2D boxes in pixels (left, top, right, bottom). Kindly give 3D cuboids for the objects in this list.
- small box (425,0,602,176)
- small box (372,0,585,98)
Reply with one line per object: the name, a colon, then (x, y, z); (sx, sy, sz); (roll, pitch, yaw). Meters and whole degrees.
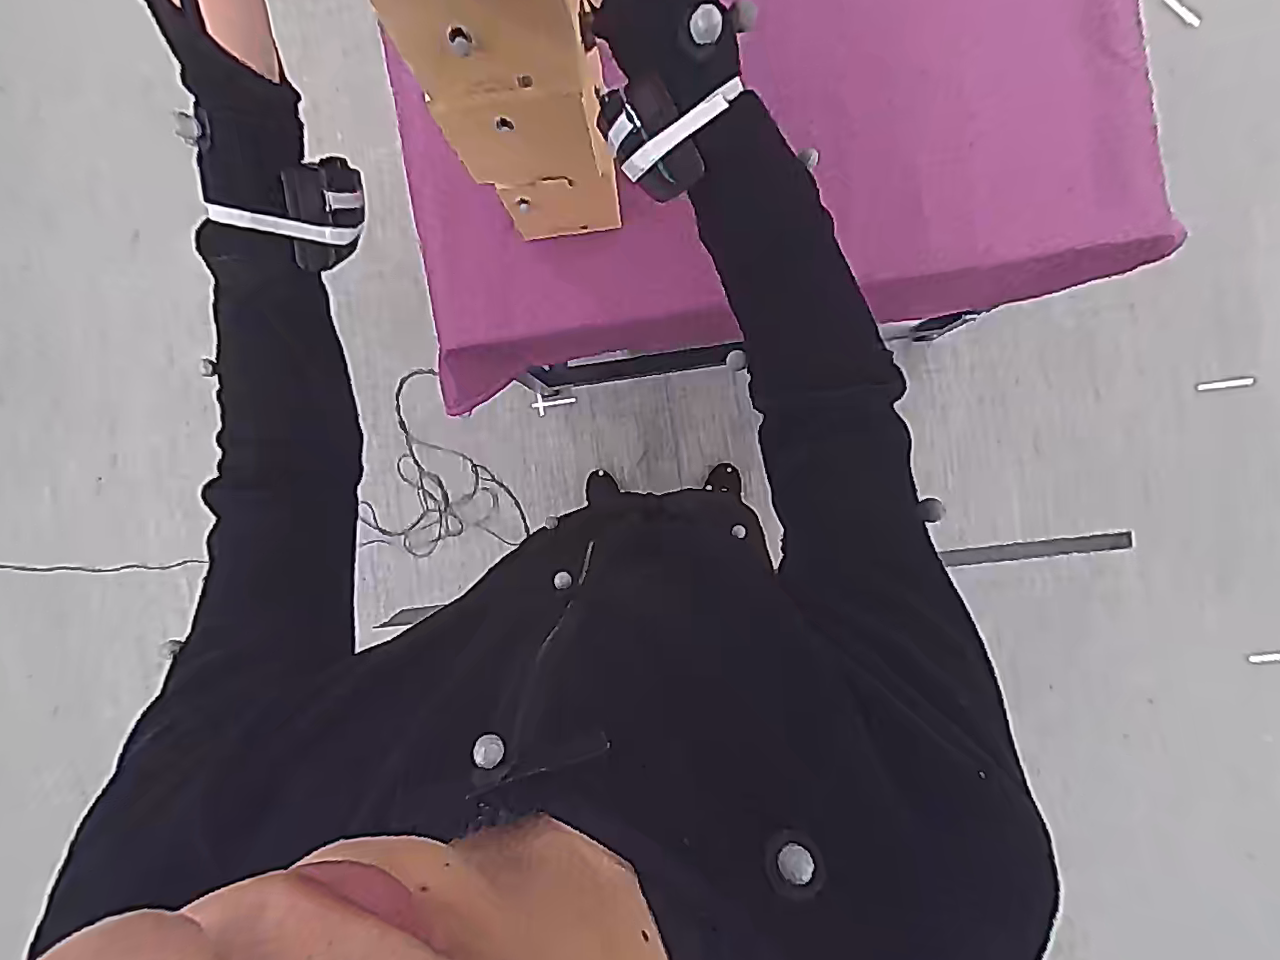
small box: (-0.145, -0.499, 0.666); (0.179, 0.176, 0.168); (0, 91, 2)
small box: (-0.150, -0.494, 0.503); (0.168, 0.176, 0.179); (-7, 89, 2)
